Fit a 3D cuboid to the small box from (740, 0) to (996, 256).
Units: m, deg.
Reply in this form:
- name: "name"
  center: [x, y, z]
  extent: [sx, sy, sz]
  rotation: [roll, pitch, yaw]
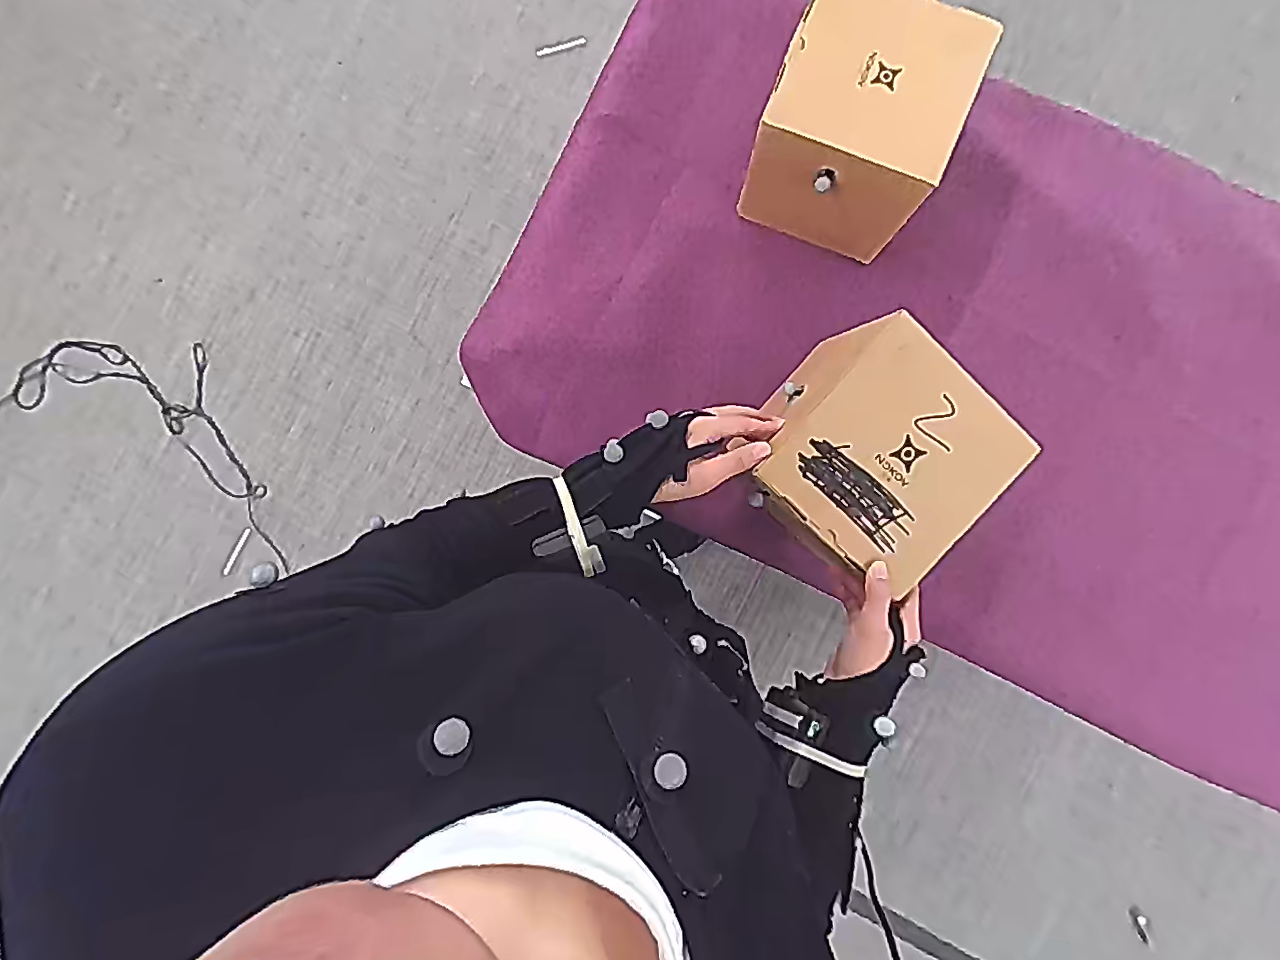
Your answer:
- name: "small box"
  center: [0.226, -0.372, 0.587]
  extent: [0.179, 0.176, 0.168]
  rotation: [23, 89, 4]
